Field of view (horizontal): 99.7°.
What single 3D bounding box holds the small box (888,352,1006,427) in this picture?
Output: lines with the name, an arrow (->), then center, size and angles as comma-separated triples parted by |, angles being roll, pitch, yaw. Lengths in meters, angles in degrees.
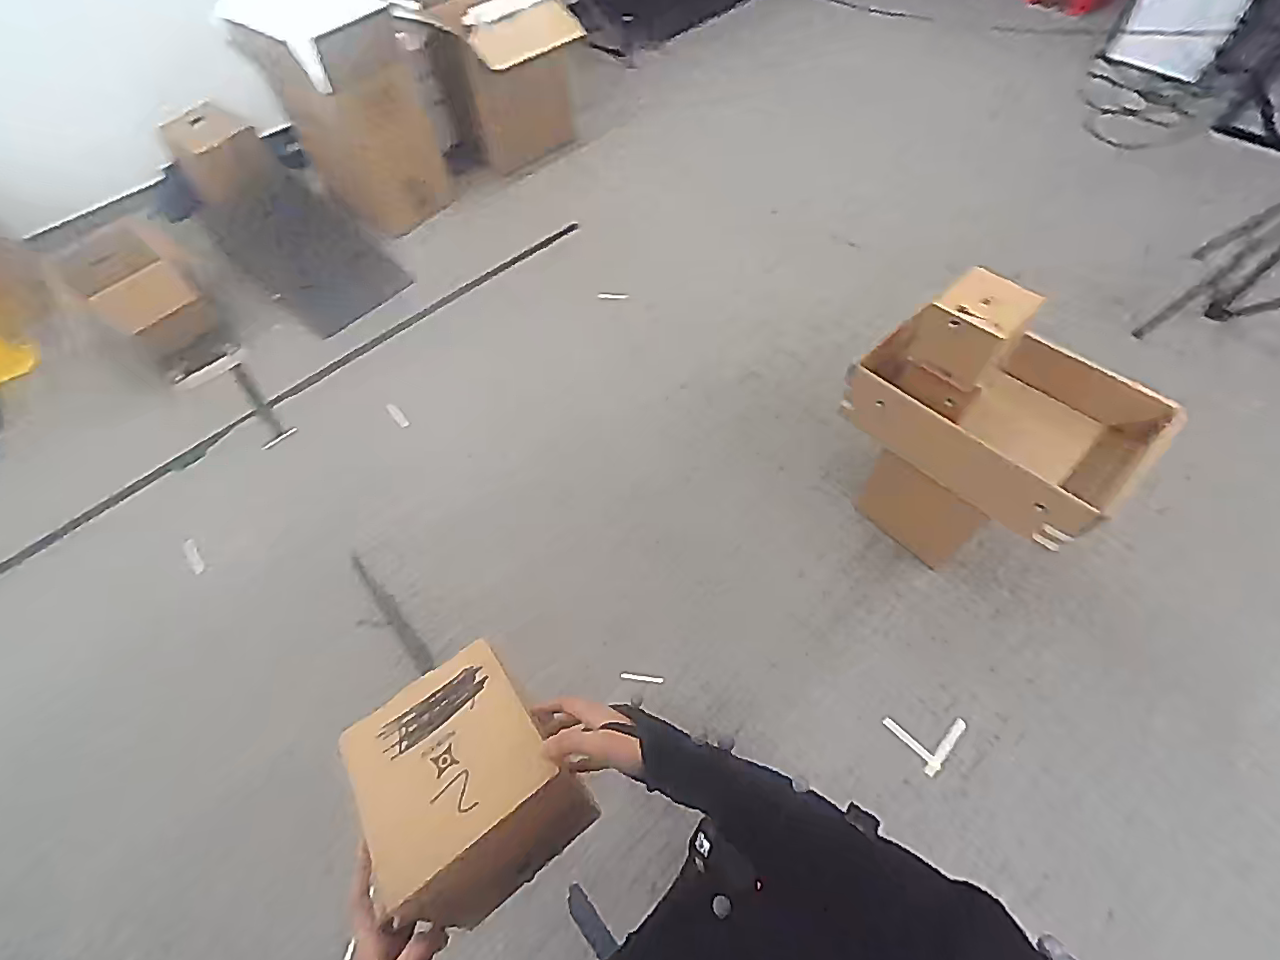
small box -> 0.772, -0.261, 1.377 | 0.179, 0.176, 0.168 | 36, 66, 24

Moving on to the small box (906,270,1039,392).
small box -> 0.746, -0.337, 1.234 | 0.179, 0.176, 0.168 | -38, 62, -19
